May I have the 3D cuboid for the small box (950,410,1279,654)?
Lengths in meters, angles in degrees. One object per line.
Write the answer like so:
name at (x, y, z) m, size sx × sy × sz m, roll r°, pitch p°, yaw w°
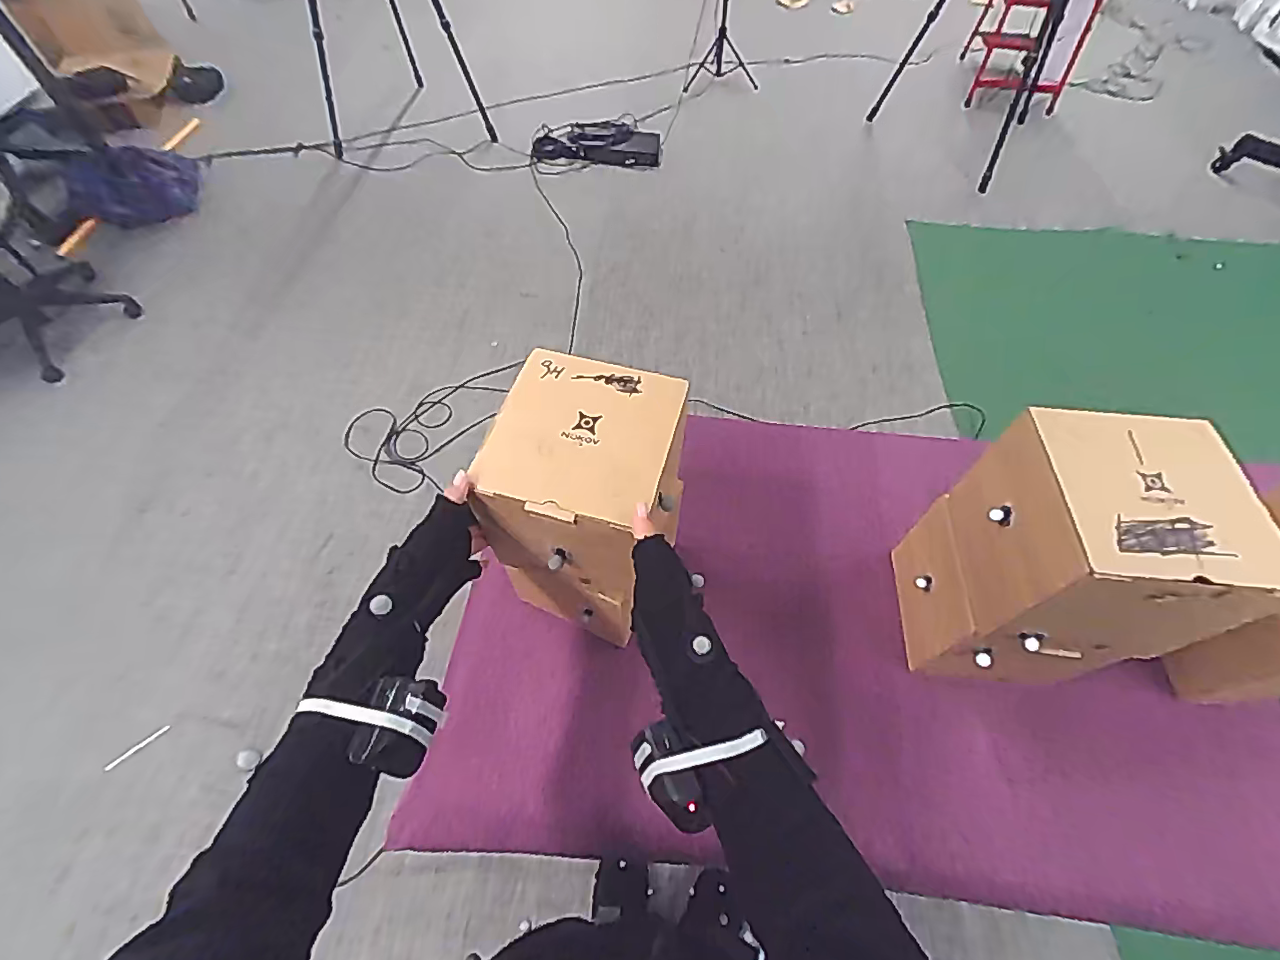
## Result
small box at (0.437, 0.057, 0.525) m, size 0.168 × 0.176 × 0.179 m, roll 5°, pitch 56°, yaw 3°

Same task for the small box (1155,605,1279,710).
small box at (0.756, 0.166, 0.652) m, size 0.168 × 0.176 × 0.179 m, roll 2°, pitch 57°, yaw 2°

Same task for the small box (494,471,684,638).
small box at (-0.054, 0.075, 0.688) m, size 0.168 × 0.176 × 0.179 m, roll 22°, pitch 59°, yaw 13°

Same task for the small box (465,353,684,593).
small box at (-0.053, -0.001, 0.564) m, size 0.168 × 0.176 × 0.179 m, roll 11°, pitch 58°, yaw 7°
